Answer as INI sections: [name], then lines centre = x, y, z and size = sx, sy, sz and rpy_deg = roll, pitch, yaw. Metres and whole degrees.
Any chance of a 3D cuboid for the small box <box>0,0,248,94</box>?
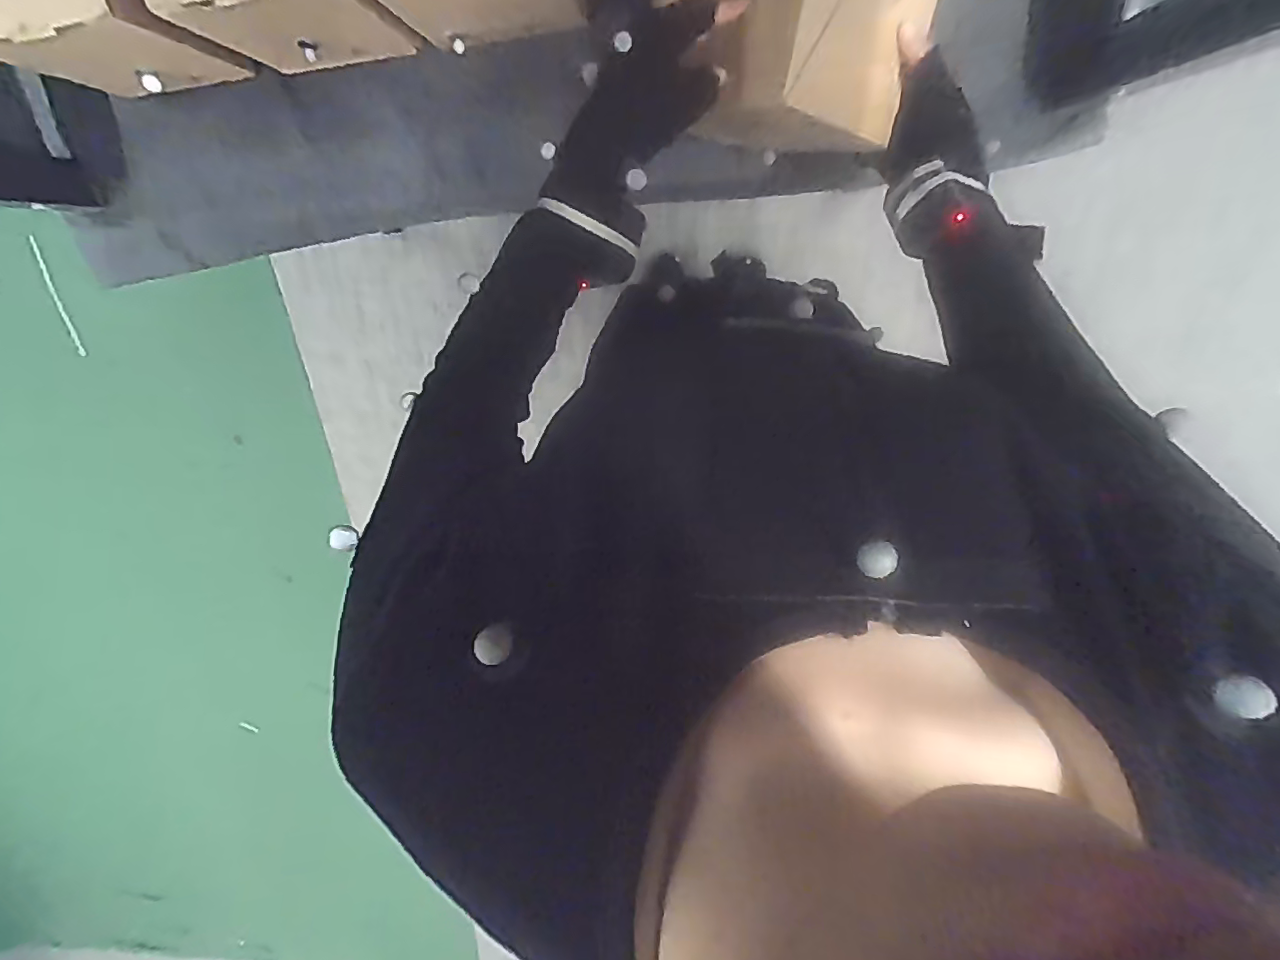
[small box]
centre = -0.524, -0.495, 0.504
size = 0.168, 0.176, 0.179
rpy_deg = -4, 113, 7
